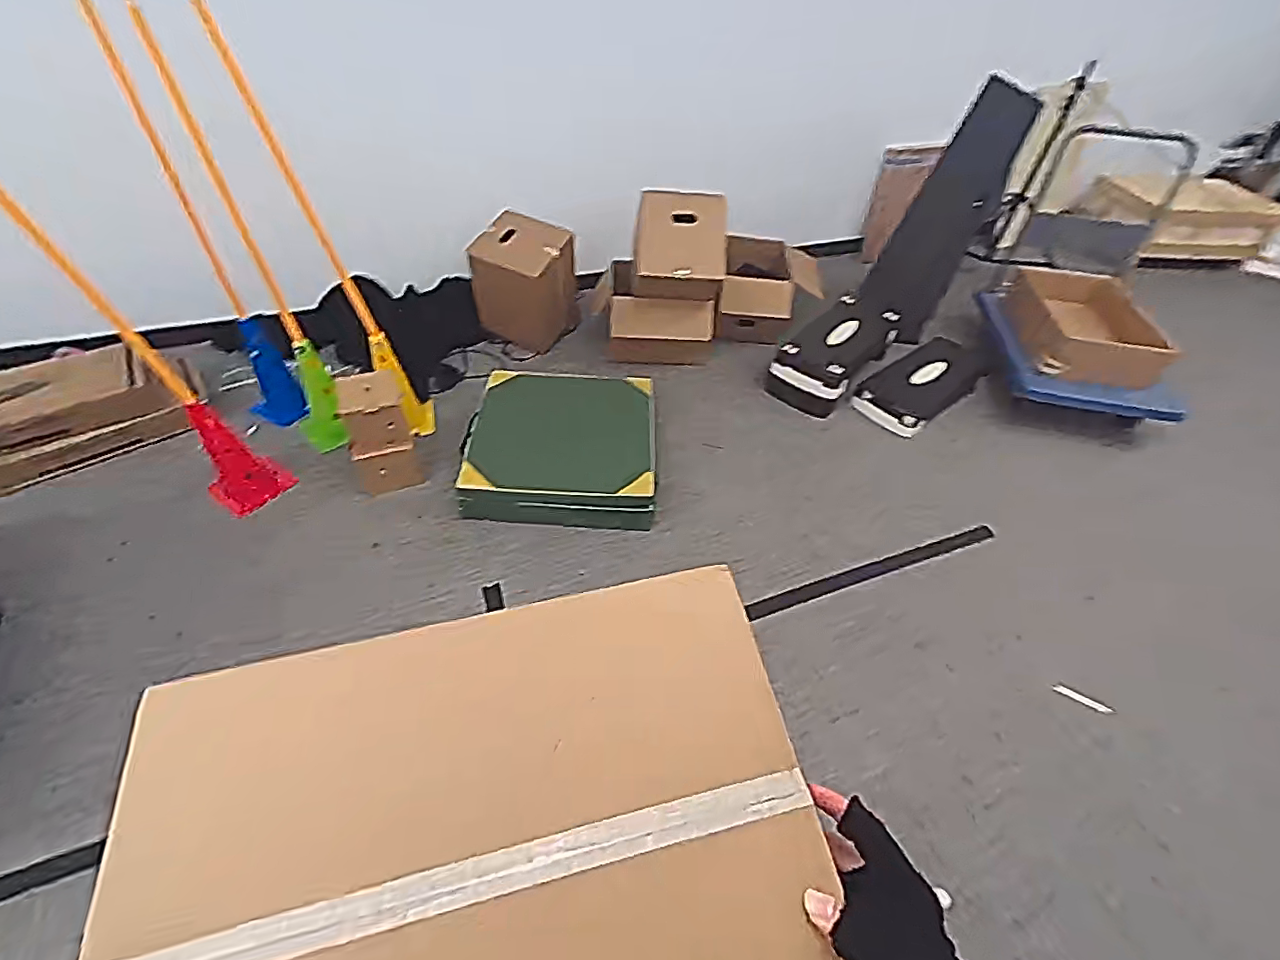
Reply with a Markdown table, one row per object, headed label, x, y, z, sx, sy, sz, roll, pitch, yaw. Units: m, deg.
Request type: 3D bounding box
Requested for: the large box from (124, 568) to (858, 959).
| label | x | y | z | sx | sy | sz | roll | pitch | yaw |
| --- | --- | --- | --- | --- | --- | --- | --- | --- | --- |
| large box | -0.096 | 0.313 | 0.447 | 0.408 | 0.320 | 0.320 | -11 | 59 | -8 |
